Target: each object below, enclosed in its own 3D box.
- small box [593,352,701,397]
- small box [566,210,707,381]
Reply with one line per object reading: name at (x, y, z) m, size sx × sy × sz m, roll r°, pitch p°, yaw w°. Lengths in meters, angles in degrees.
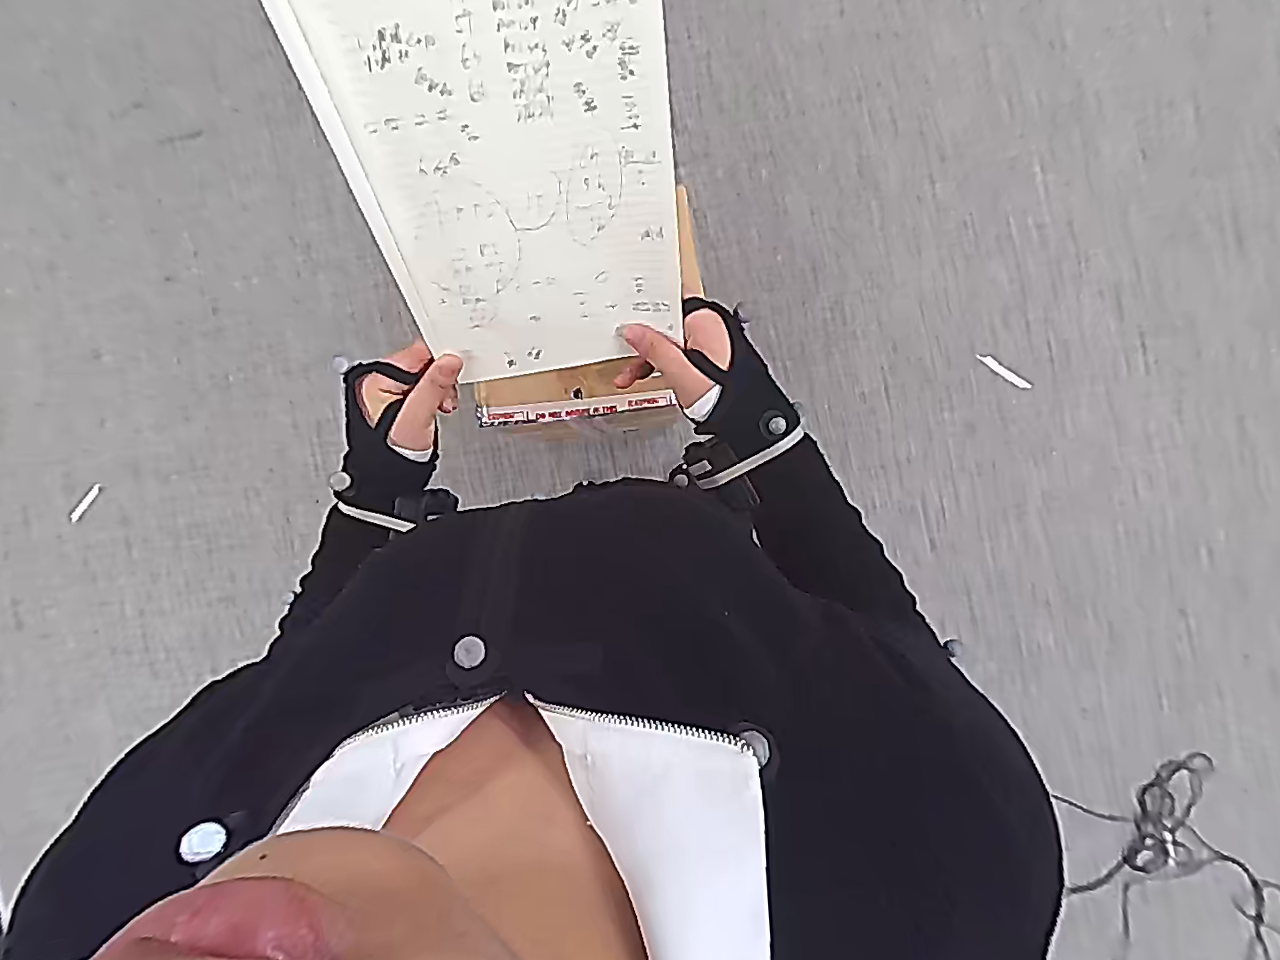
small box at (-0.002, -0.250, 0.946) m, size 0.179 × 0.176 × 0.168 m, roll -12°, pitch 91°, yaw 1°
small box at (-0.006, -0.255, 0.782) m, size 0.168 × 0.176 × 0.179 m, roll -10°, pitch 91°, yaw 0°
